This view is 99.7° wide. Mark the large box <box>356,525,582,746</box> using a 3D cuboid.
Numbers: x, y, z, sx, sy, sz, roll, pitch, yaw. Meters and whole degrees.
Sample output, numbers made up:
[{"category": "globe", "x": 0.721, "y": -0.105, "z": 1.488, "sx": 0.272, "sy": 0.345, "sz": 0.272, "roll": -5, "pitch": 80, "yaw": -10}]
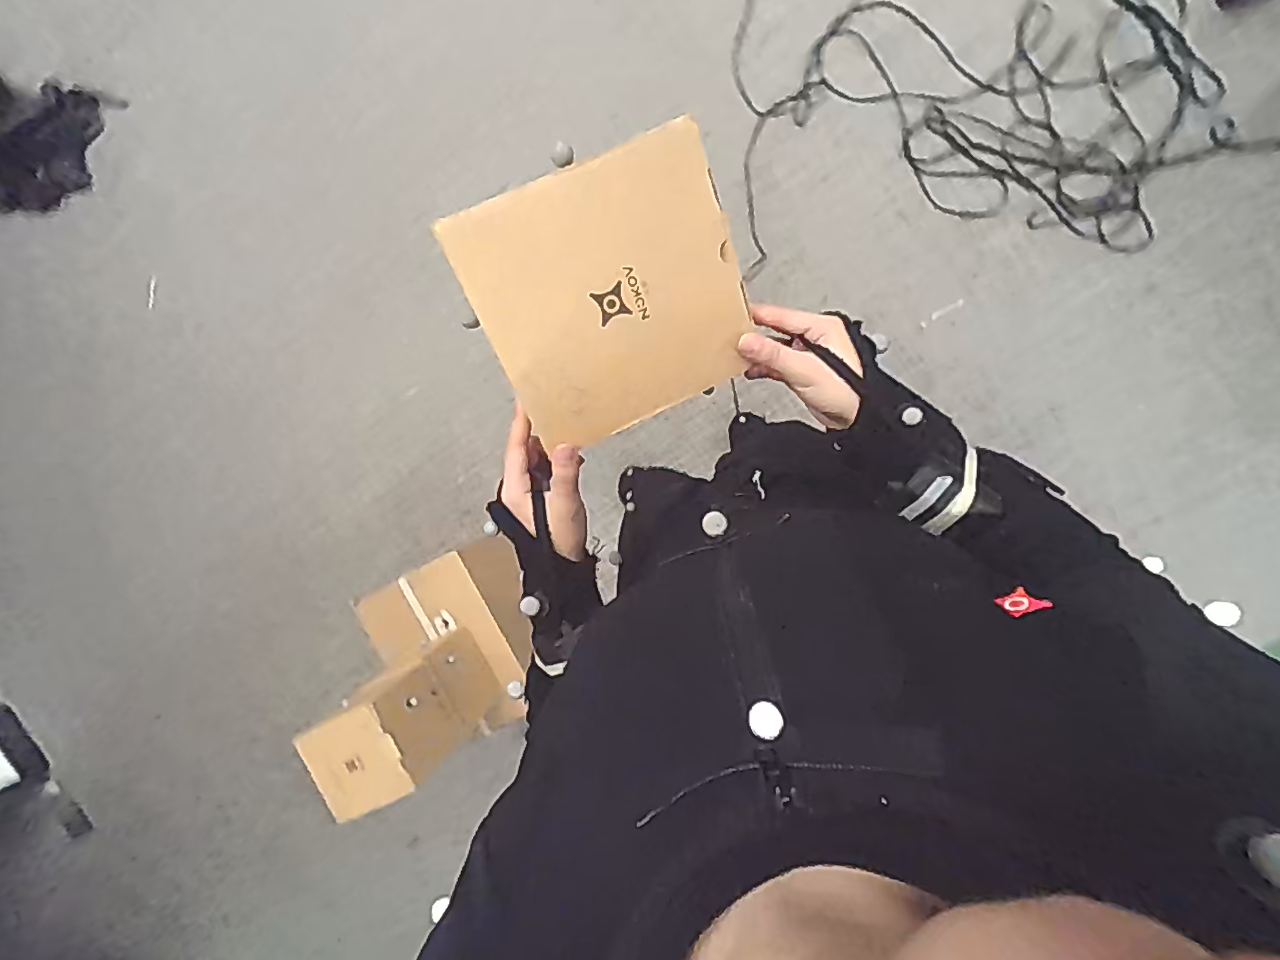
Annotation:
[{"category": "large box", "x": -0.407, "y": 0.378, "z": 1.367, "sx": 0.320, "sy": 0.320, "sz": 0.408, "roll": -29, "pitch": 91, "yaw": 12}]

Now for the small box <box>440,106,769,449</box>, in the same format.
[{"category": "small box", "x": -0.031, "y": -0.150, "z": 0.422, "sx": 0.179, "sy": 0.176, "sz": 0.168, "roll": -26, "pitch": 116, "yaw": -6}]

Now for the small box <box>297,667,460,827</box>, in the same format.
[{"category": "small box", "x": -0.452, "y": 0.465, "z": 0.969, "sx": 0.179, "sy": 0.176, "sz": 0.168, "roll": -29, "pitch": 90, "yaw": 14}]
